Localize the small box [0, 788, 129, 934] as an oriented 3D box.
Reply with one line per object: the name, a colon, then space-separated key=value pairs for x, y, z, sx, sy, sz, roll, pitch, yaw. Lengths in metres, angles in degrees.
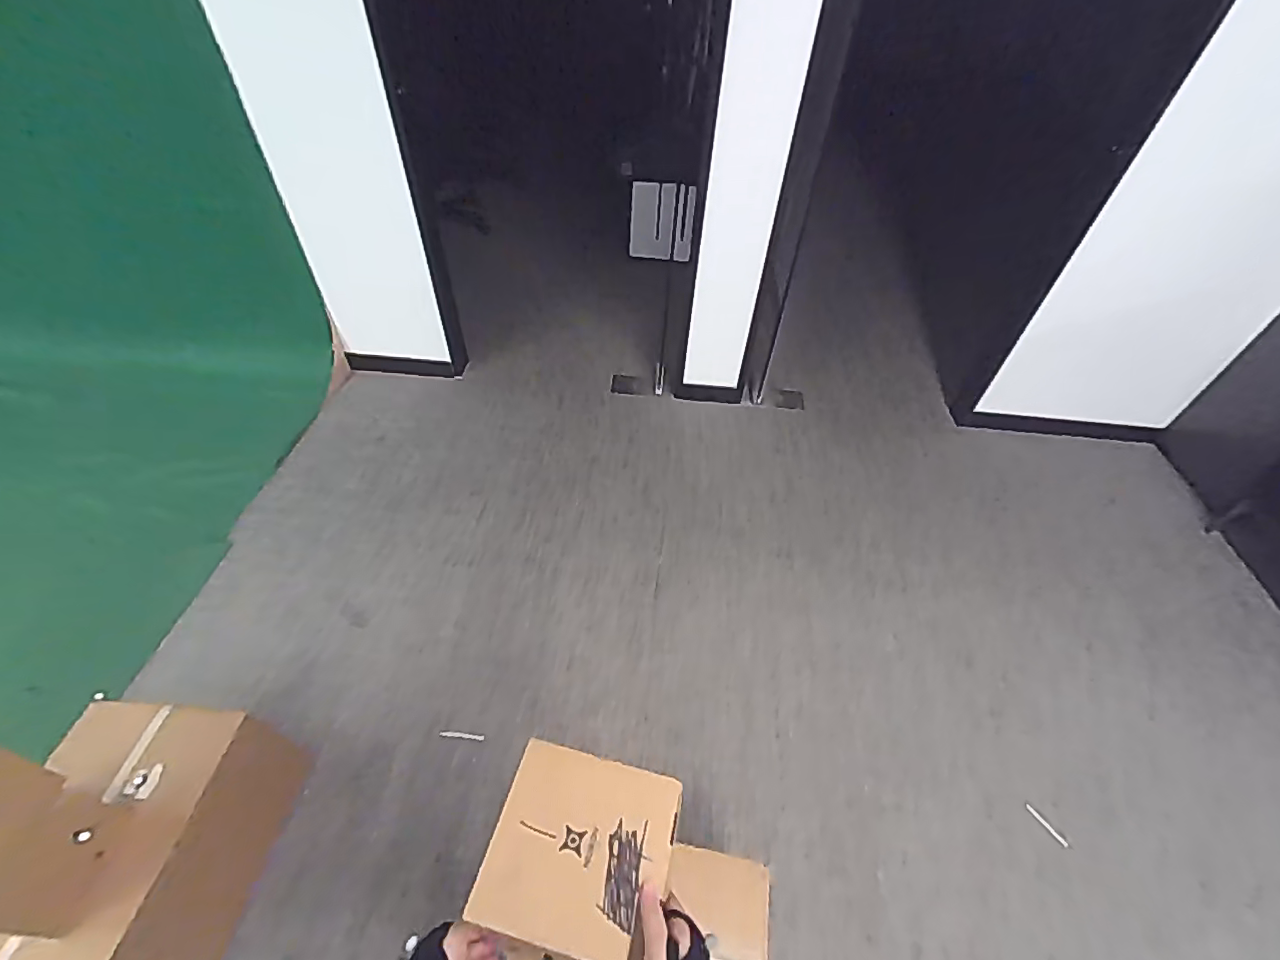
small box: x=-0.960 y=0.577 z=0.825 sx=0.179 sy=0.176 sz=0.168 roll=3 pitch=46 yaw=1

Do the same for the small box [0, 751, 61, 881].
small box: x=-0.951 y=0.459 z=0.712 sx=0.168 sy=0.176 sz=0.179 roll=1 pitch=45 yaw=-3

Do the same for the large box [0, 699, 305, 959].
large box: x=-0.950 y=0.695 z=1.050 sx=0.320 sy=0.320 sz=0.408 roll=5 pitch=46 yaw=0

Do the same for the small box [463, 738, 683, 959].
small box: x=-0.062 y=0.415 z=0.590 sx=0.179 sy=0.176 sz=0.168 roll=12 pitch=45 yaw=9
